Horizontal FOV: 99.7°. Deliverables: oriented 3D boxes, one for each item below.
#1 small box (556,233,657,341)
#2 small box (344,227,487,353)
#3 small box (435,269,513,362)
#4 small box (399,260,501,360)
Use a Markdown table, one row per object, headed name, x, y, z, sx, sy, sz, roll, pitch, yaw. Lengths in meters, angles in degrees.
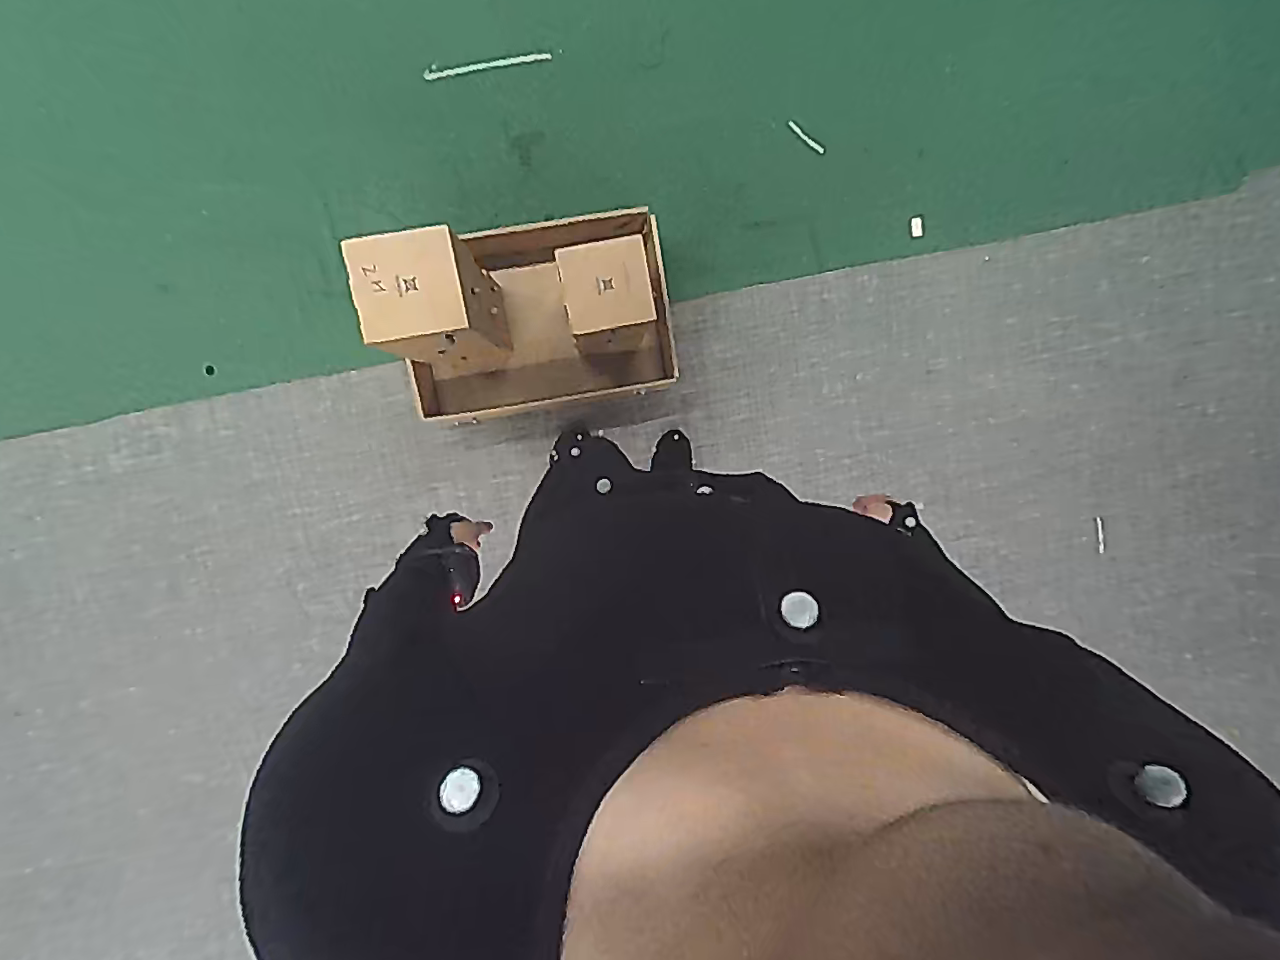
| name | x | y | z | sx | sy | sz | roll | pitch | yaw |
| --- | --- | --- | --- | --- | --- | --- | --- | --- | --- |
| small box | -0.066 | -0.393 | 1.129 | 0.179 | 0.176 | 0.168 | -11 | 100 | -1 |
| small box | -0.379 | -0.325 | 0.954 | 0.179 | 0.176 | 0.168 | -10 | 98 | -2 |
| small box | -0.408 | -0.379 | 1.278 | 0.168 | 0.176 | 0.179 | -11 | 99 | -2 |
| small box | -0.401 | -0.347 | 1.117 | 0.179 | 0.176 | 0.168 | -10 | 99 | -3 |
